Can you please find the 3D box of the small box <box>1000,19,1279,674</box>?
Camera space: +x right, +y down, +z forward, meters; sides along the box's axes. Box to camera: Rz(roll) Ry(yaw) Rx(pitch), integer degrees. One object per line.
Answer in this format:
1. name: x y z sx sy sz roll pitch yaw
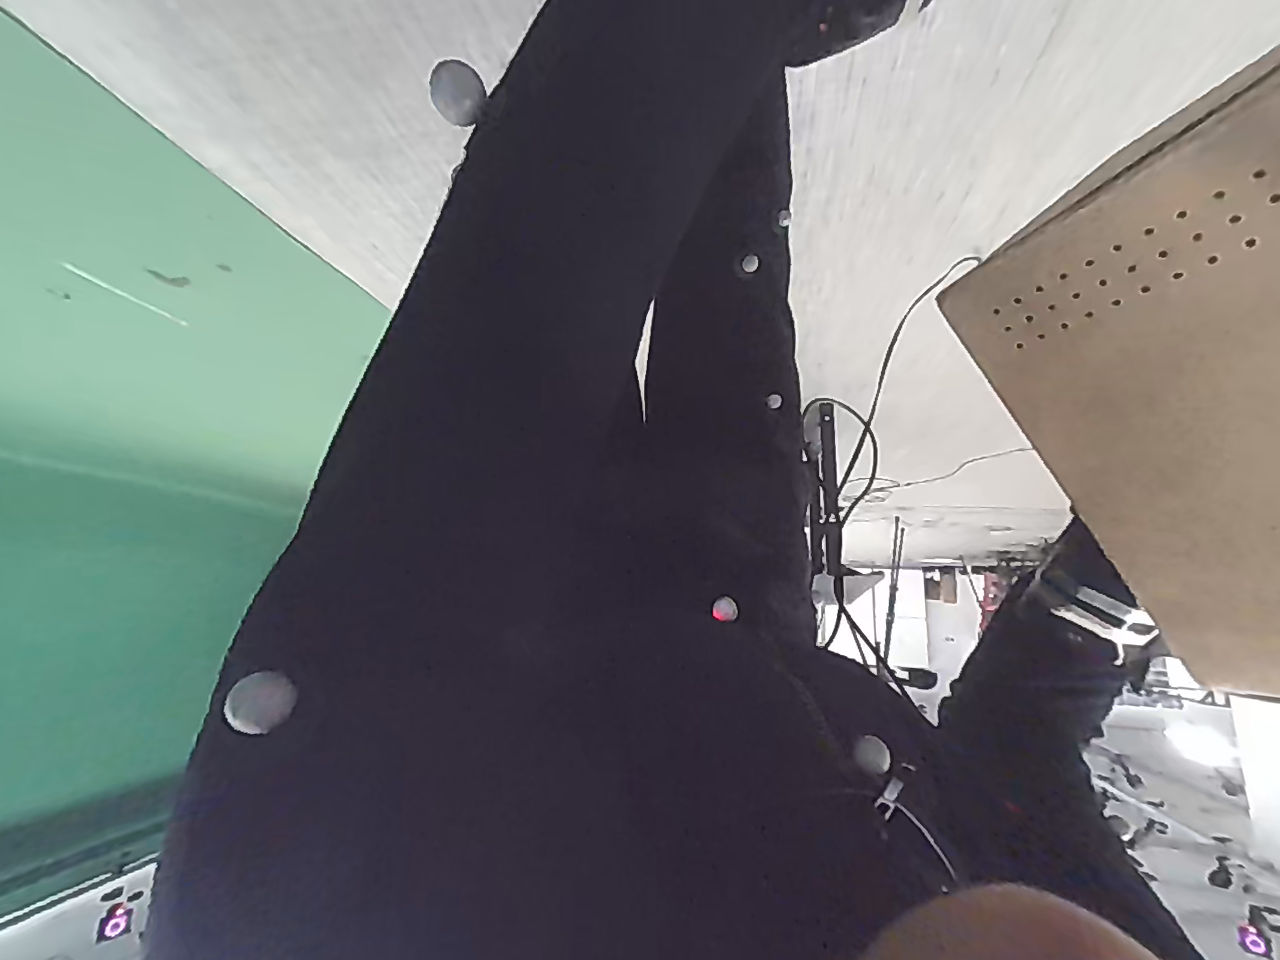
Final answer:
1. small box: 0.233 -0.064 0.135 0.168 0.176 0.179 -37 -177 -24
